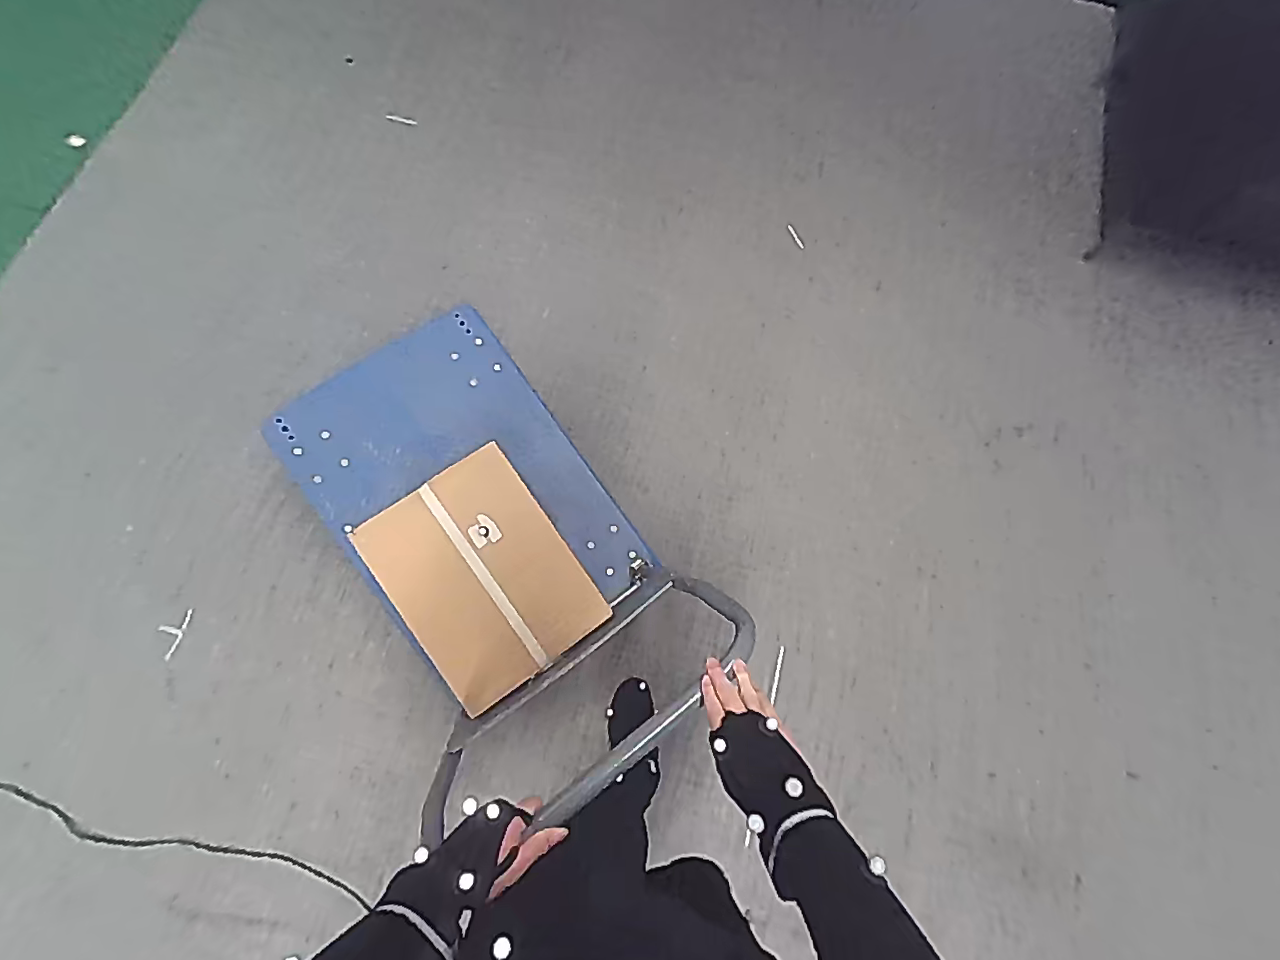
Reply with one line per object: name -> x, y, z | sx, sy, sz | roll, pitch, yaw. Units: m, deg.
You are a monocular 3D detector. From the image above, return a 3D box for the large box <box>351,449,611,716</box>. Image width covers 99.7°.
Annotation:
large box -> -0.308, 0.205, 1.146 | 0.320, 0.320, 0.408 | -35, 87, -13
